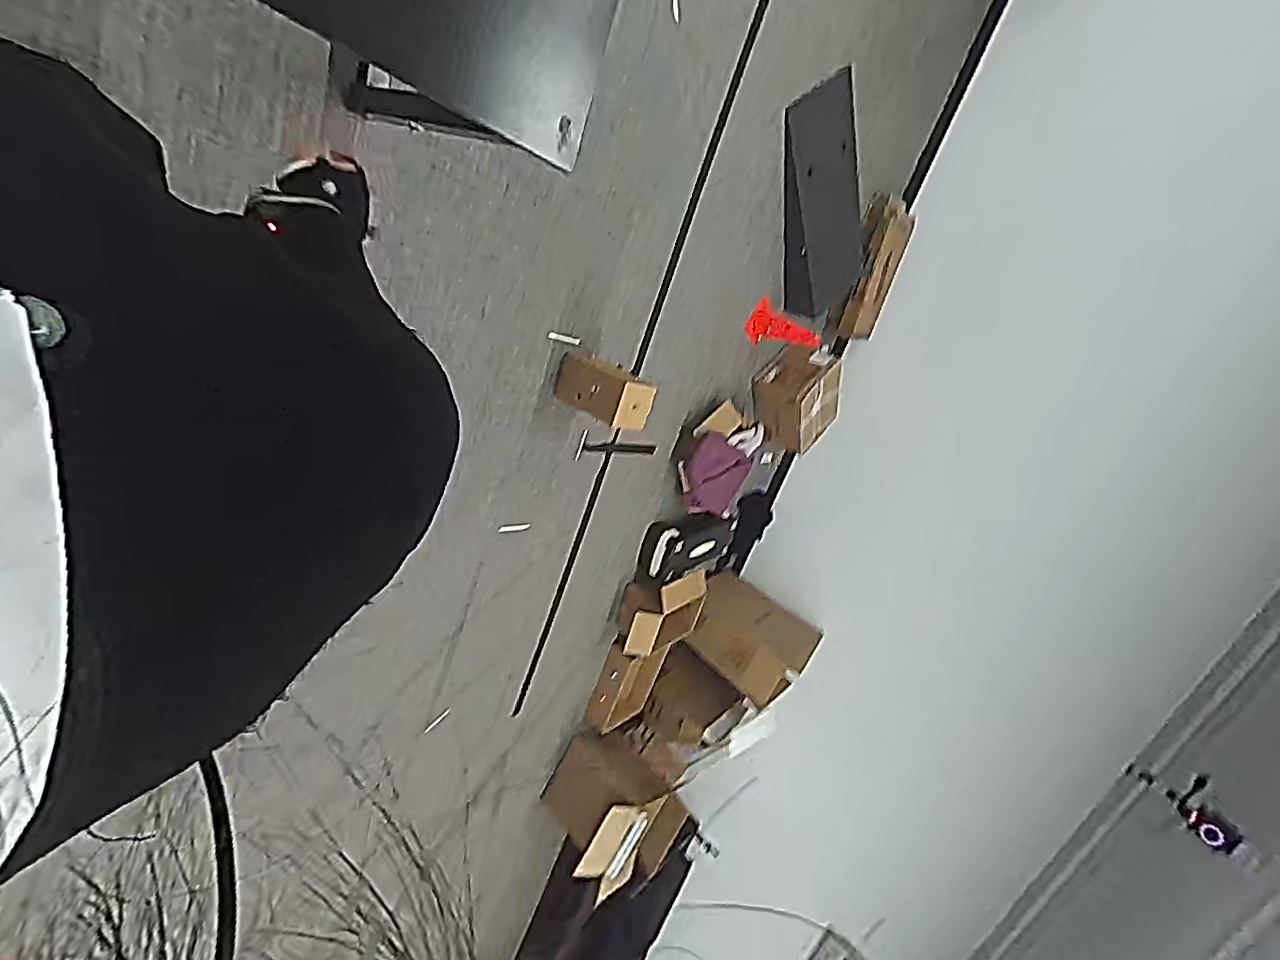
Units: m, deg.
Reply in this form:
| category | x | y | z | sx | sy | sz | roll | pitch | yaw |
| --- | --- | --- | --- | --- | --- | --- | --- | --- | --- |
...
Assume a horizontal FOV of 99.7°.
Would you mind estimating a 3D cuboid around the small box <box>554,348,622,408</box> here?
| category | x | y | z | sx | sy | sz | roll | pitch | yaw |
| --- | --- | --- | --- | --- | --- | --- | --- | --- | --- |
| small box | -0.202 | -0.379 | 2.036 | 0.168 | 0.176 | 0.179 | -6 | 121 | -51 |

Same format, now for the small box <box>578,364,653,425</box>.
| category | x | y | z | sx | sy | sz | roll | pitch | yaw |
| --- | --- | --- | --- | --- | --- | --- | --- | --- | --- |
| small box | -0.089 | -0.308 | 1.943 | 0.179 | 0.176 | 0.168 | -3 | 118 | -50 |
